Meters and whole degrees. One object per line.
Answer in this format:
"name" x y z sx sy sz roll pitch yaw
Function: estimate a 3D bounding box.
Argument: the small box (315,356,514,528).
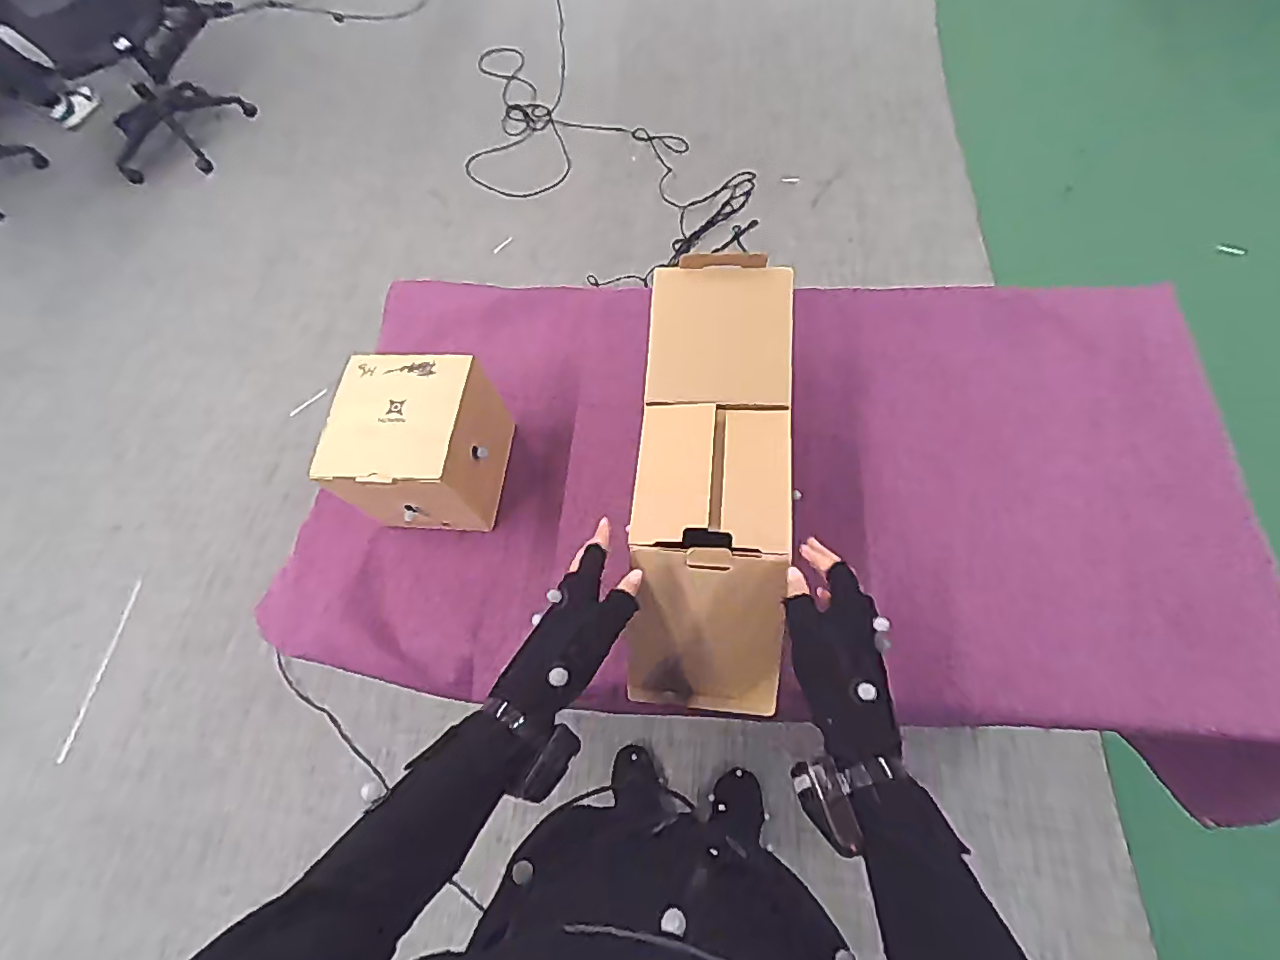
"small box" -0.281 -0.044 0.718 0.168 0.176 0.179 2 66 7
